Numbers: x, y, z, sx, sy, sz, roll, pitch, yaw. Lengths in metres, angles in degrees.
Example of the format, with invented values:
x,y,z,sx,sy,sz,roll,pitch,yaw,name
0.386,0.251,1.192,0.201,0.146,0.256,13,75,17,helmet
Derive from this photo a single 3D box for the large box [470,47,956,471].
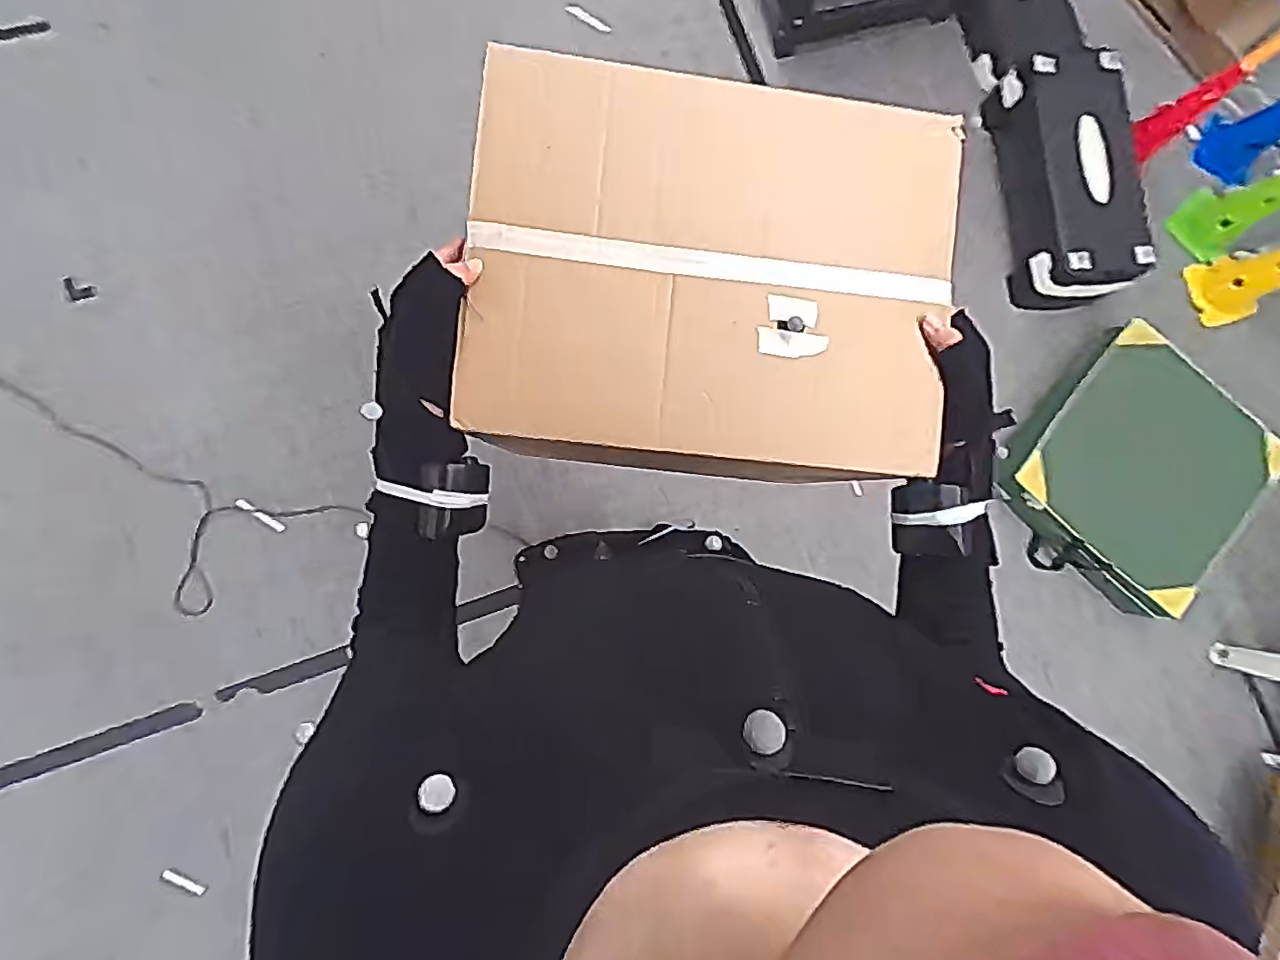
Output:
x,y,z,sx,sy,sz,roll,pitch,yaw,name
0.055,-0.185,0.606,0.408,0.320,0.320,7,90,-6,large box
